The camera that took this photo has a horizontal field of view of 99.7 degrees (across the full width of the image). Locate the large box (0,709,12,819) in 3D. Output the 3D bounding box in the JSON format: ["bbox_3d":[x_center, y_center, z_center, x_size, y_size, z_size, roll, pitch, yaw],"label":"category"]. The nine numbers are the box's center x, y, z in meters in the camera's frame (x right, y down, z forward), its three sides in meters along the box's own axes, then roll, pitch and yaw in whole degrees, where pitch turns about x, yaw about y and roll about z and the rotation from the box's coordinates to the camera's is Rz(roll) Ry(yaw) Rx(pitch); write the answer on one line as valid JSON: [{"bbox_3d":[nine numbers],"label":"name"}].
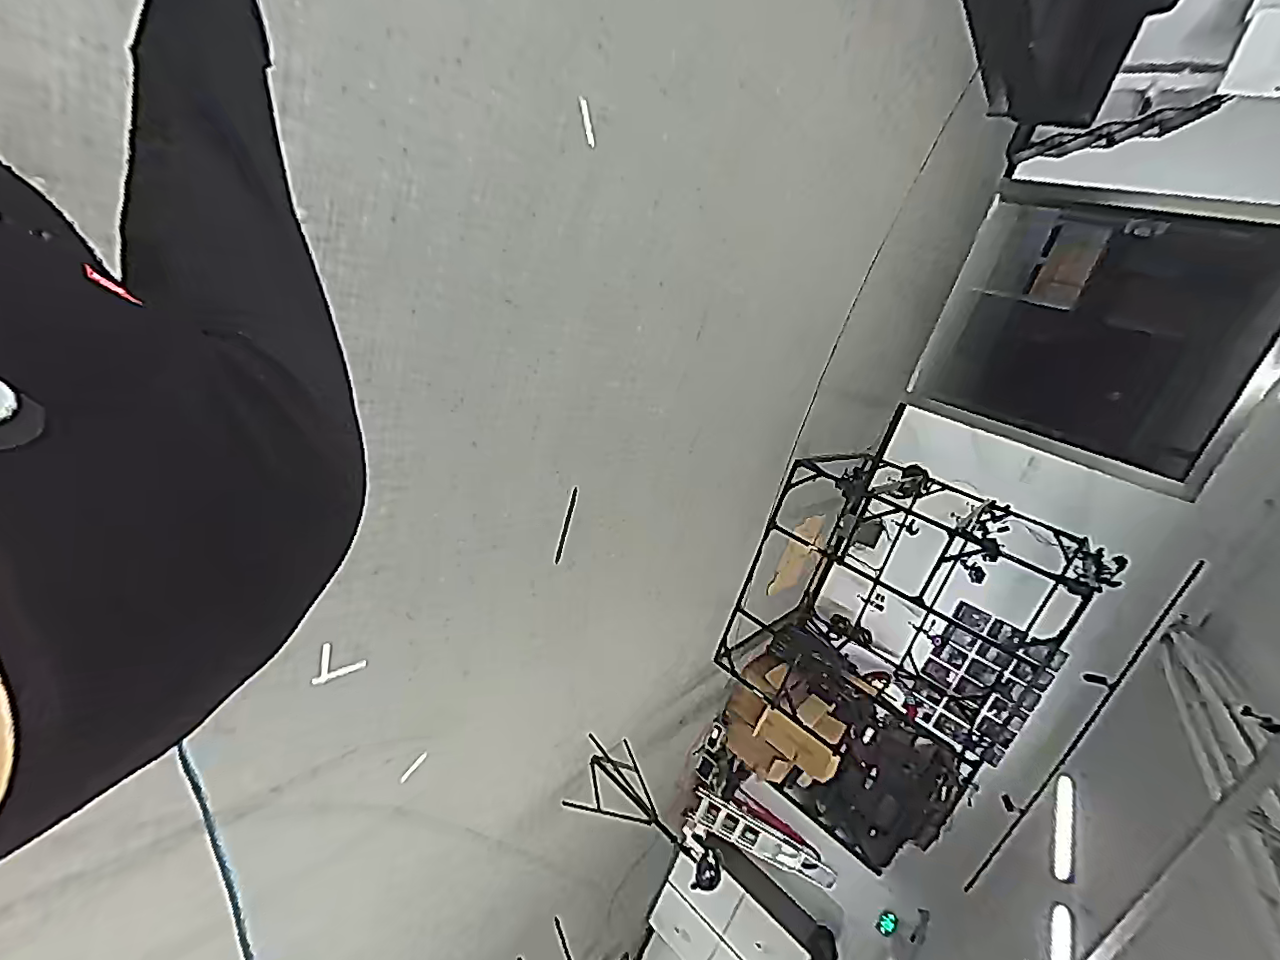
[{"bbox_3d":[-1.422,0.489,0.920,0.408,0.320,0.320,-16,127,-47],"label":"large box"}]
